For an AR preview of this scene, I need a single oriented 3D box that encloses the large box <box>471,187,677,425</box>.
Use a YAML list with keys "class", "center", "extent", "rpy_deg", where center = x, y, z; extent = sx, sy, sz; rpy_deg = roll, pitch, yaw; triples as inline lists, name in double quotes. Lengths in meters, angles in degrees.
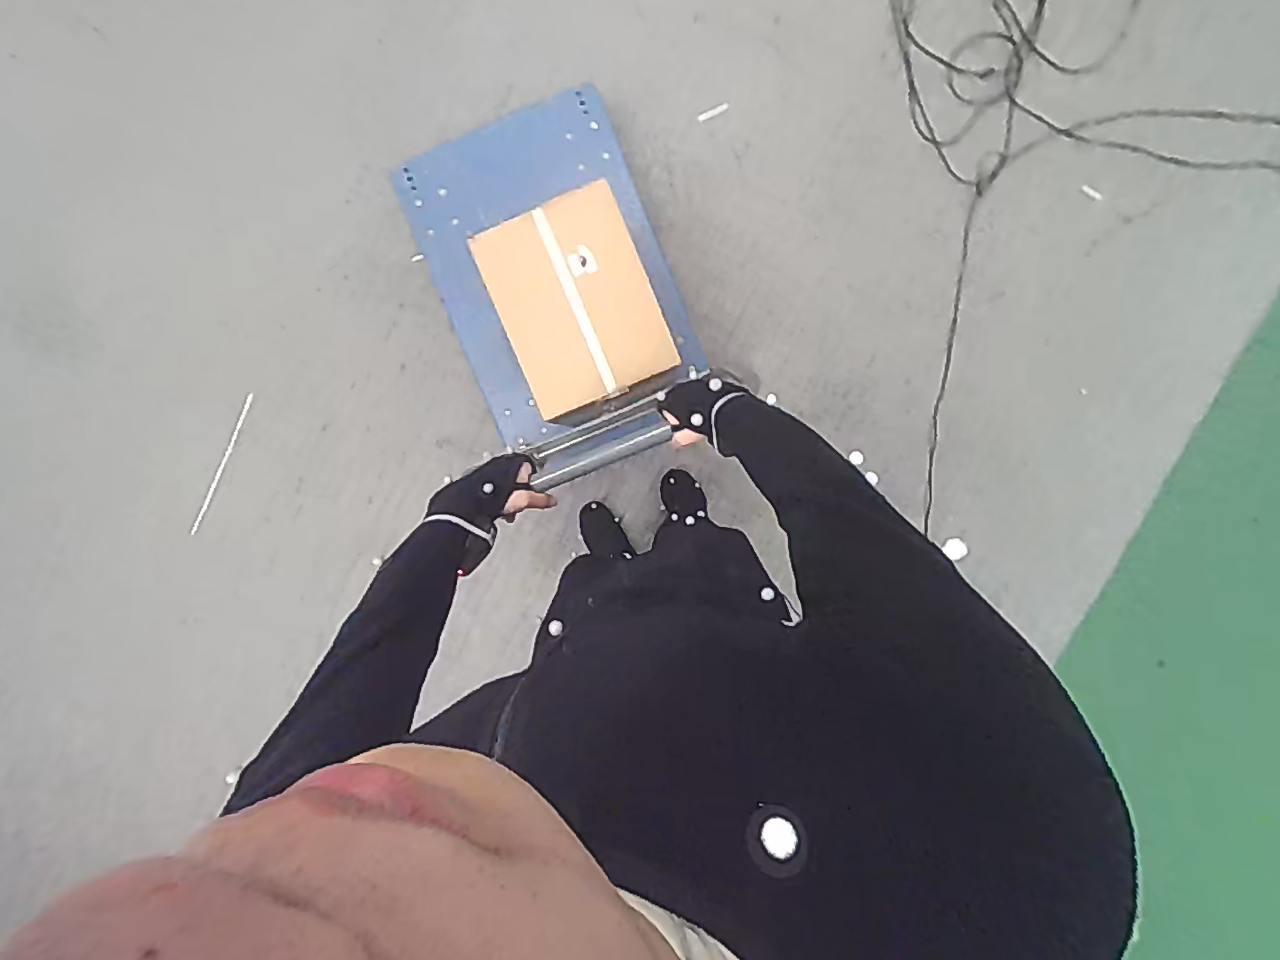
- class: "large box"
  center: [-0.132, -0.376, 1.278]
  extent: [0.320, 0.320, 0.408]
  rpy_deg: [-23, 93, 2]
